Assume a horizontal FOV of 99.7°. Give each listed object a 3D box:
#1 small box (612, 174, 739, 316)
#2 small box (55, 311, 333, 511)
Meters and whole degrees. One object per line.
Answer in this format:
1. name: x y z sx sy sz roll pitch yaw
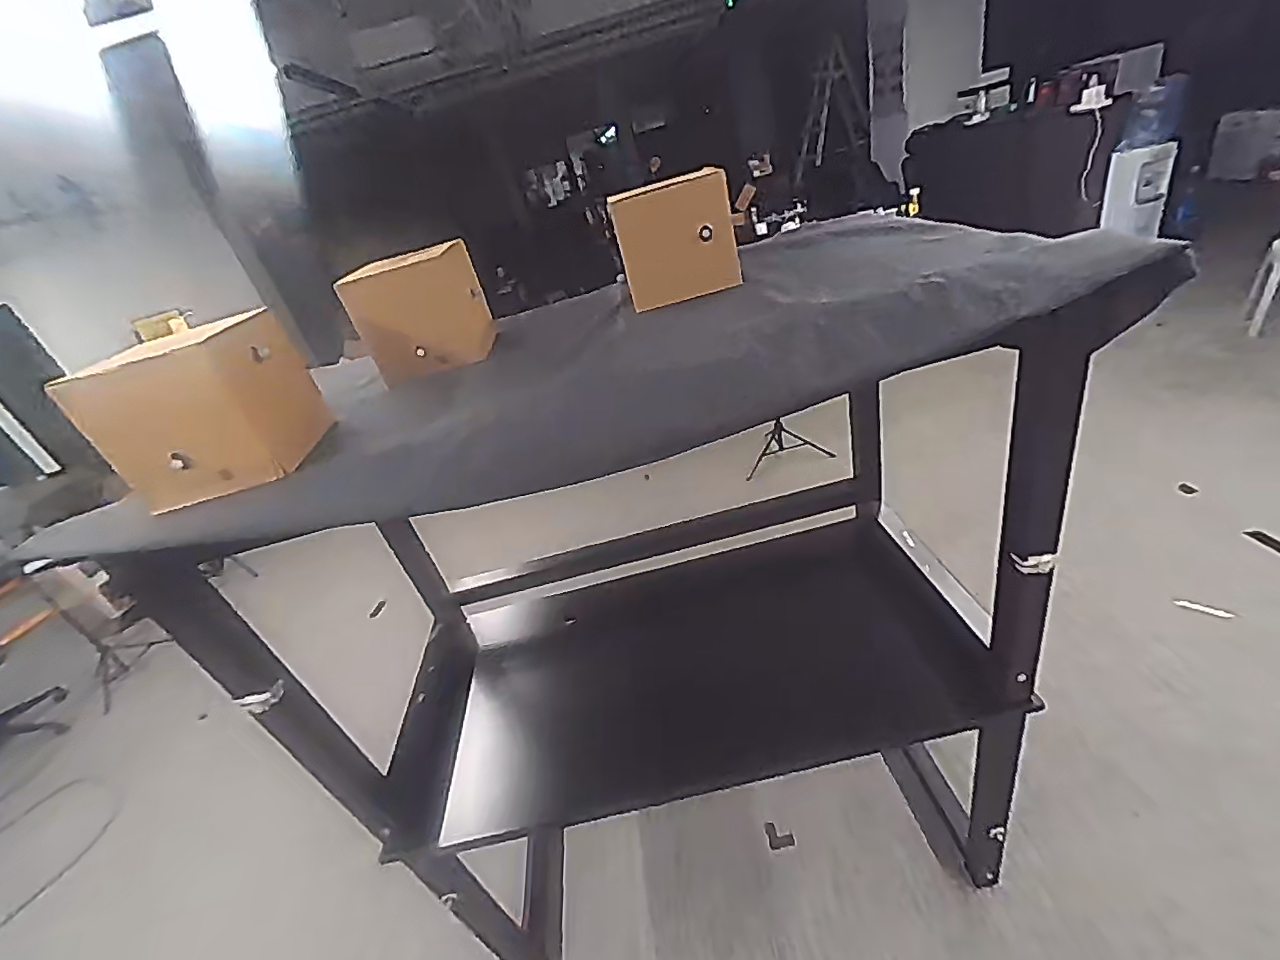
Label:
1. small box: 0.059 -0.388 0.888 0.179 0.176 0.168 -14 29 4
2. small box: -0.513 -0.088 0.662 0.168 0.176 0.179 -17 31 -1
